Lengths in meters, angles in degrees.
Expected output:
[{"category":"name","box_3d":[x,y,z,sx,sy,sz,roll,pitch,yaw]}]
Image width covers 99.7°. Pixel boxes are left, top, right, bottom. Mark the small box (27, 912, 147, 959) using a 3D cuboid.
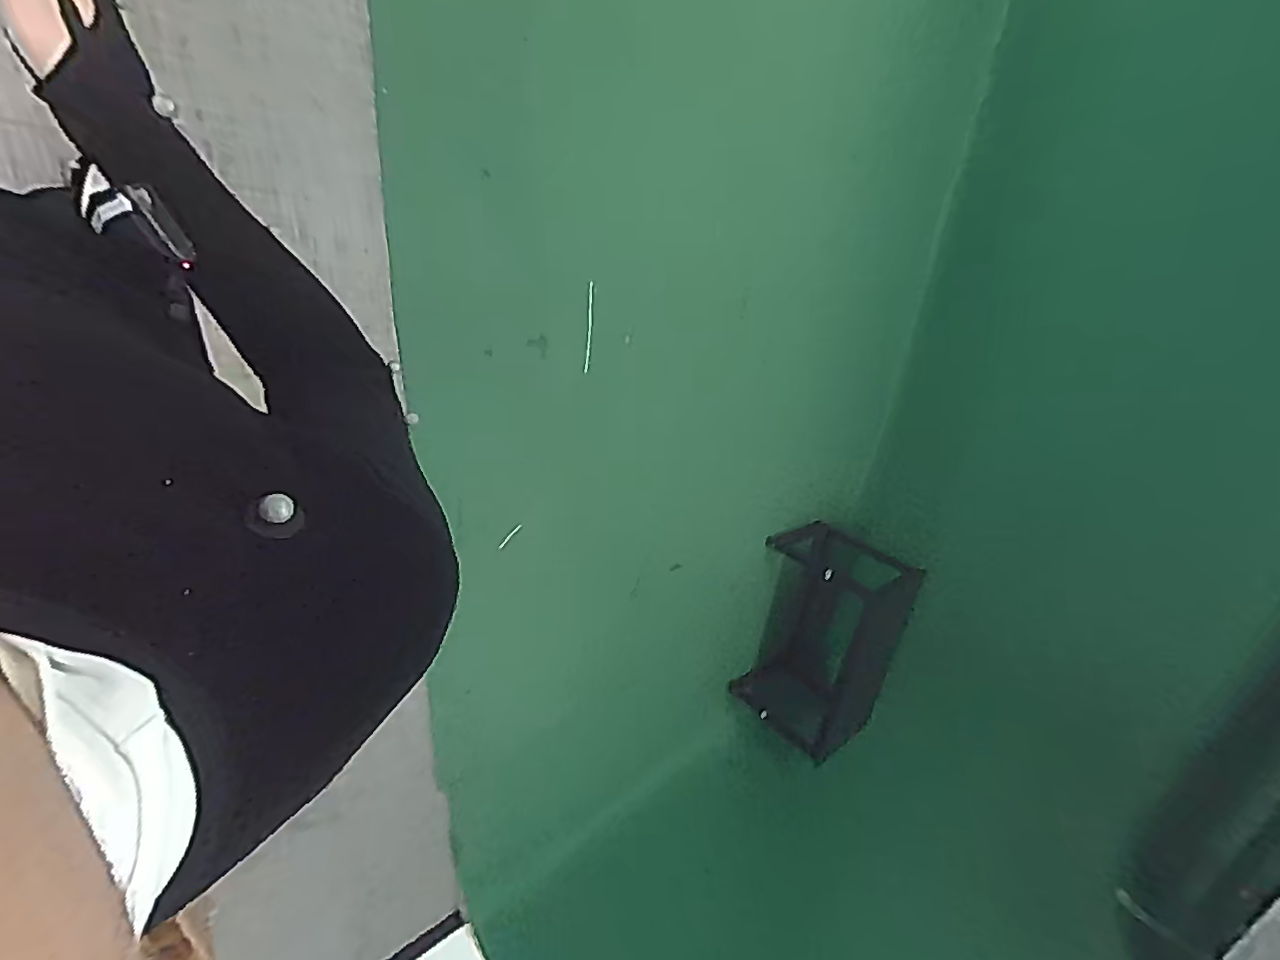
[{"category":"small box","box_3d":[-1.189,1.085,1.152,0.179,0.176,0.168,-22,127,-34]}]
